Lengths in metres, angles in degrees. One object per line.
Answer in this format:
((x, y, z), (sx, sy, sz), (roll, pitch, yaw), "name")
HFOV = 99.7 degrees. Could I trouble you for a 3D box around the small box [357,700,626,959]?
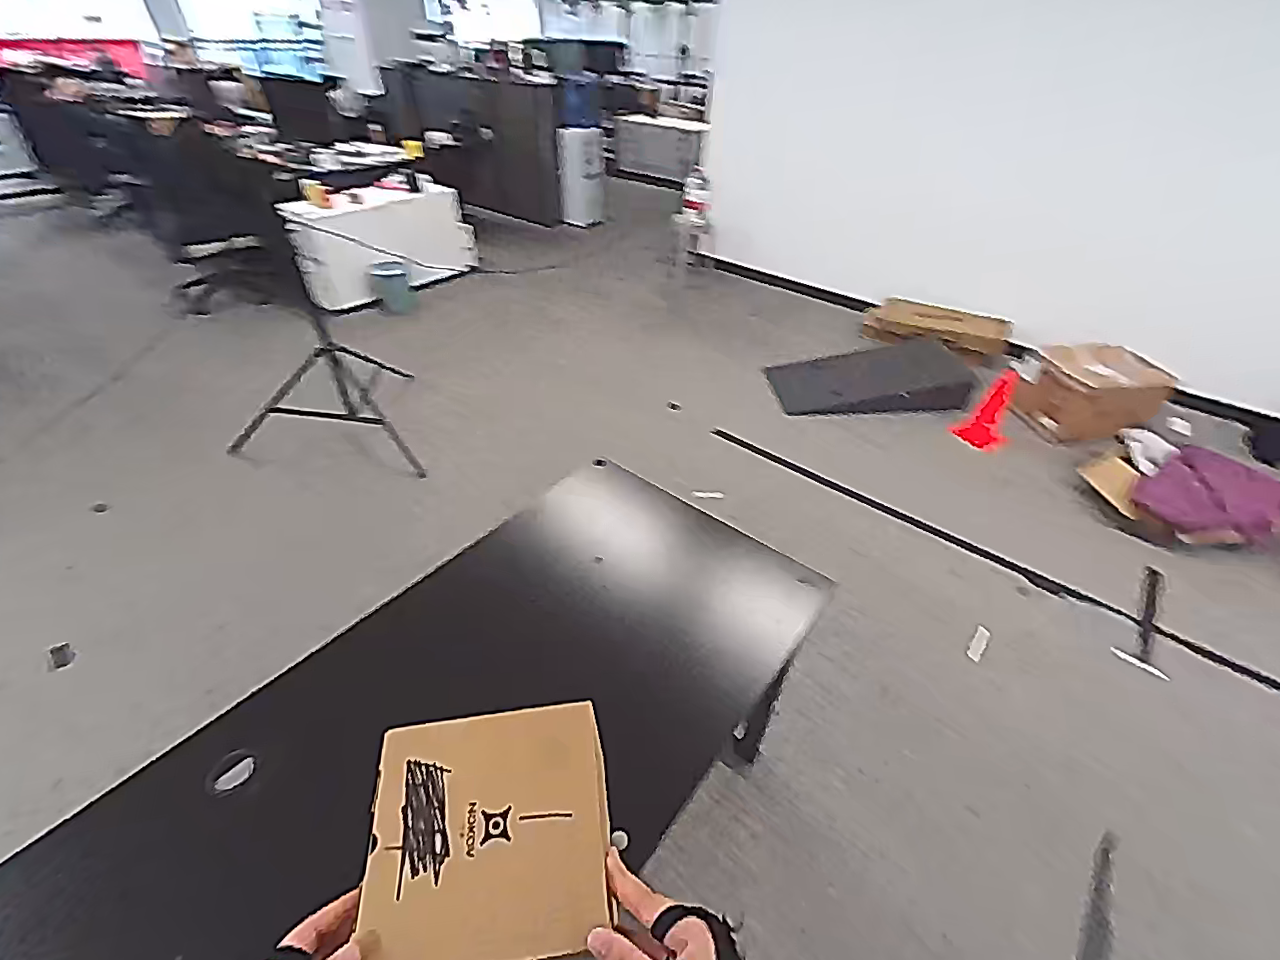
((-0.109, 0.314, 0.470), (0.179, 0.176, 0.168), (-6, 48, -5), "small box")
